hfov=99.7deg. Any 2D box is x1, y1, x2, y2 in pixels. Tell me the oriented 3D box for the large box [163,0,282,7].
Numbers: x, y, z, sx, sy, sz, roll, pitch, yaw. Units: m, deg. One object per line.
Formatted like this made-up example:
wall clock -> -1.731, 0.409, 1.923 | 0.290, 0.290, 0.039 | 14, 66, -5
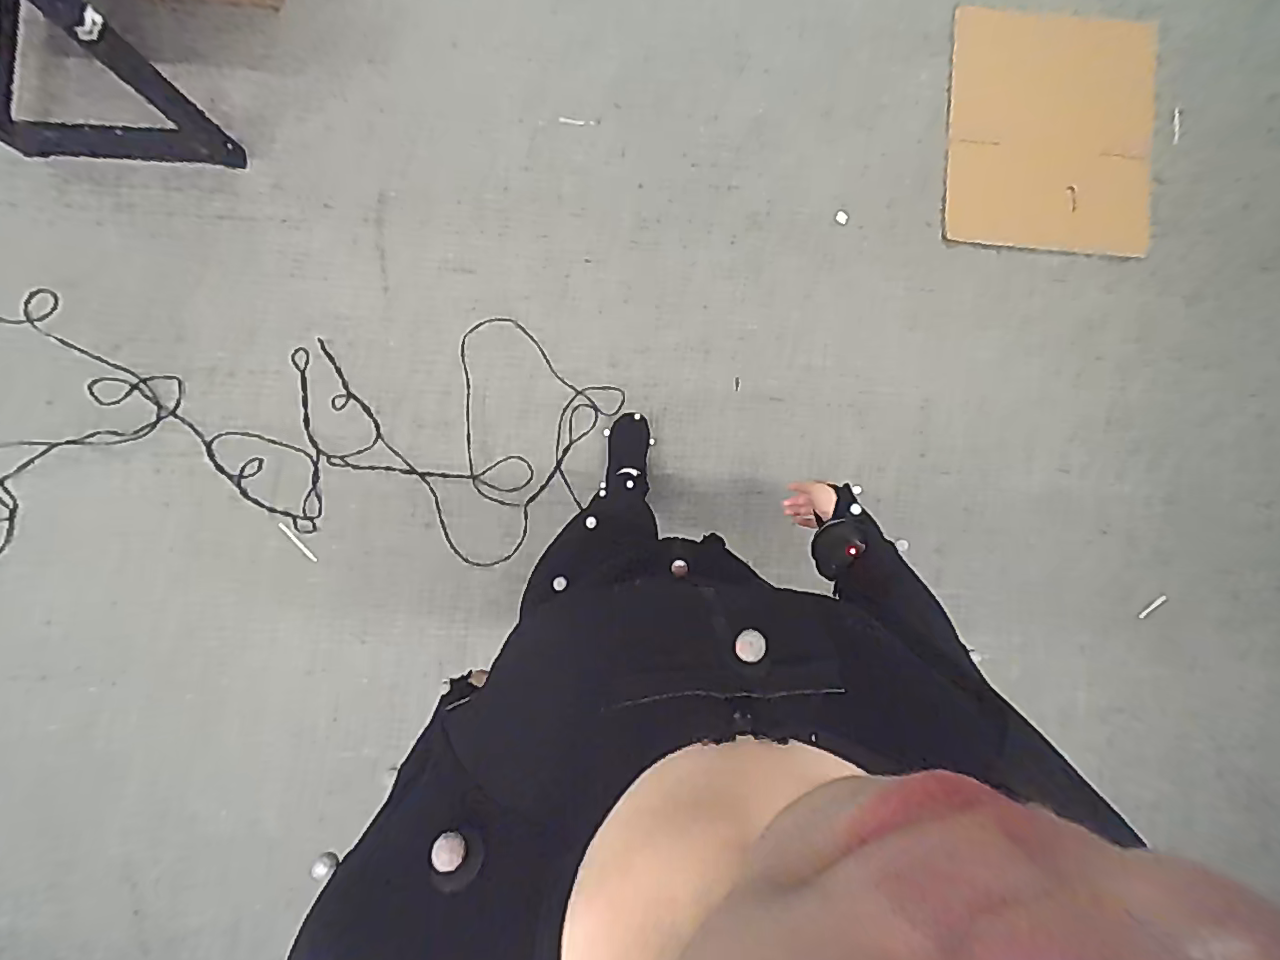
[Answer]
large box -> -1.176, -1.463, 1.342 | 0.408, 0.320, 0.320 | 2, 89, -3
